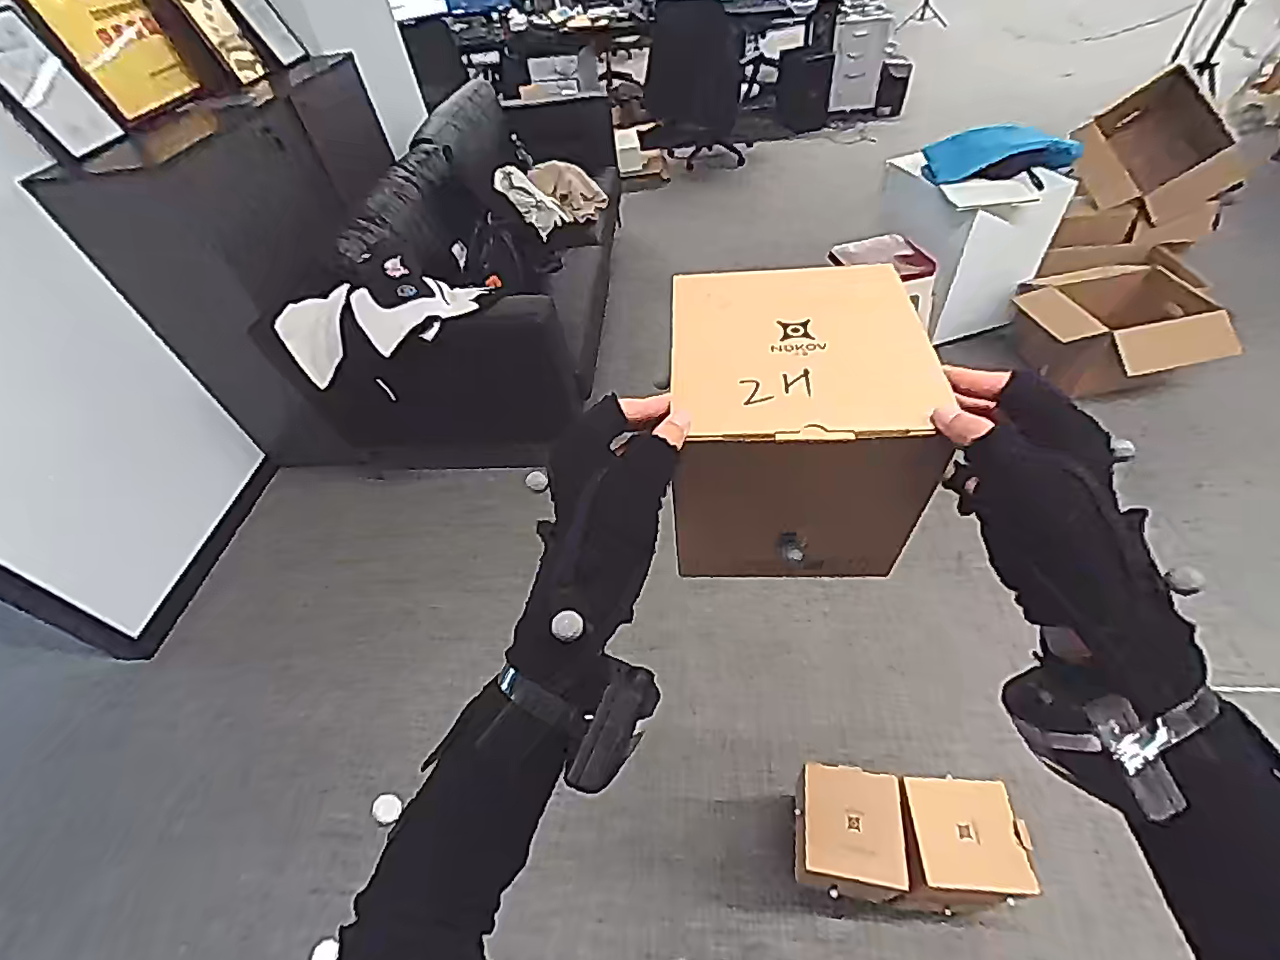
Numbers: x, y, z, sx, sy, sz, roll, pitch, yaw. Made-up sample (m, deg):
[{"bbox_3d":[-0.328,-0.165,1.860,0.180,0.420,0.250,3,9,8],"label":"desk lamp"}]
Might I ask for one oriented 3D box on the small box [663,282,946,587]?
[{"bbox_3d":[0.106,-0.036,0.430,0.168,0.176,0.179,0,49,6],"label":"small box"}]
